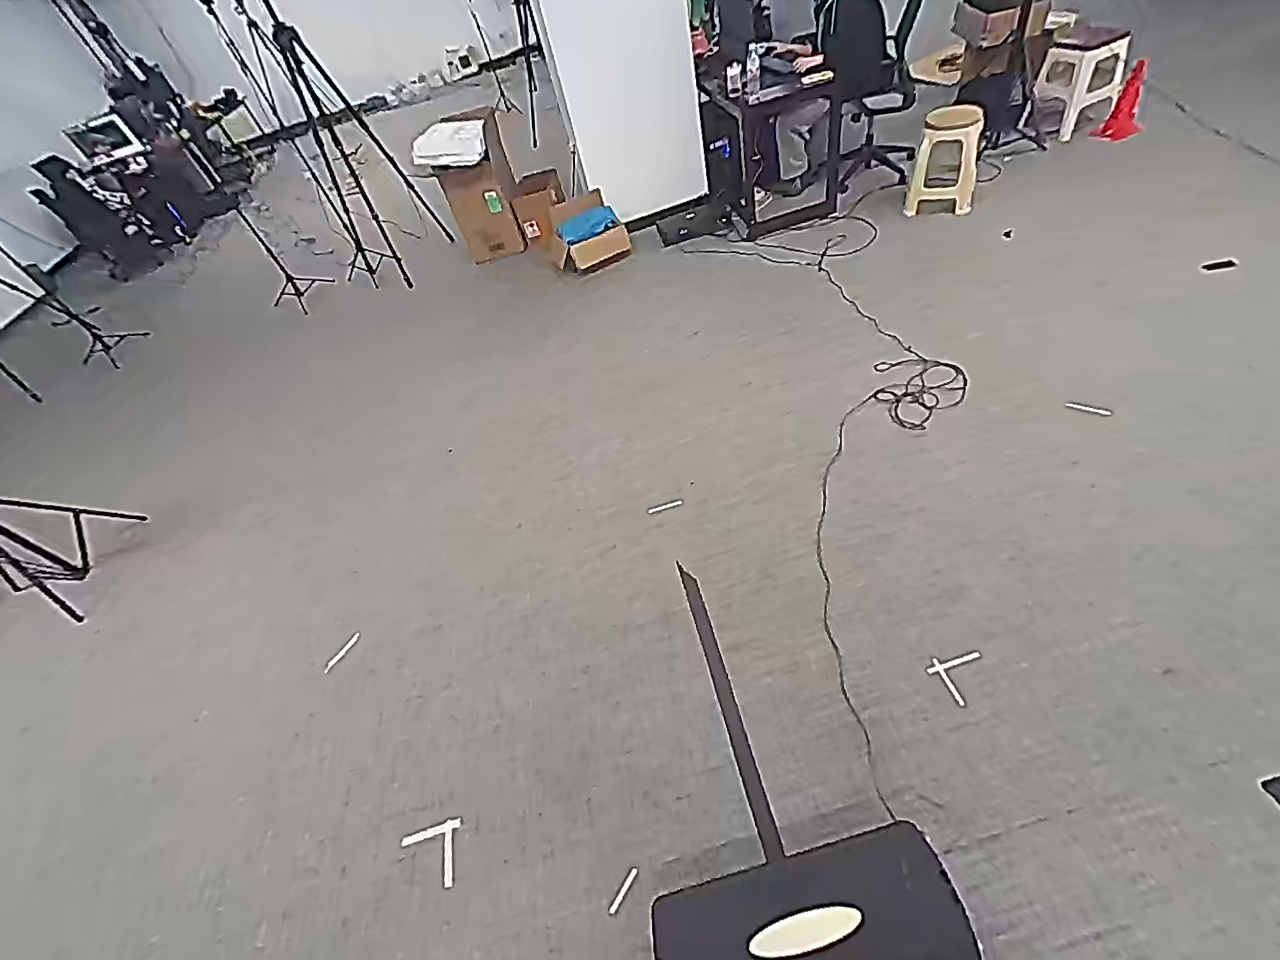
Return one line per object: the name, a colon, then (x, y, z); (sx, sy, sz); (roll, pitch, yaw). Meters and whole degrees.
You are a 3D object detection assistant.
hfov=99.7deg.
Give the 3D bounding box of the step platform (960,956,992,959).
step platform: (0.422, 1.141, 0.980); (0.684, 0.204, 0.286); (-19, 46, 1)
